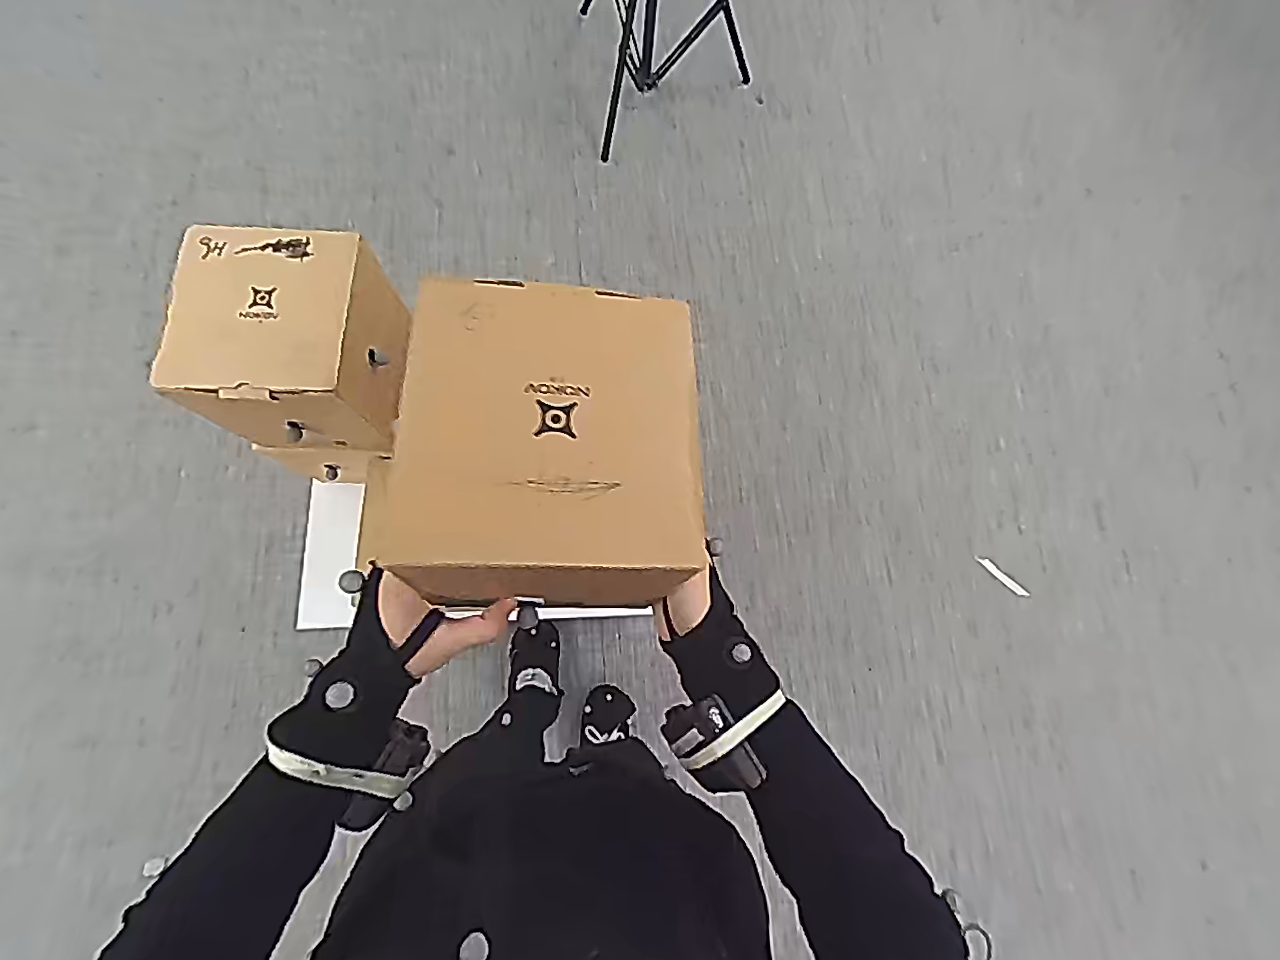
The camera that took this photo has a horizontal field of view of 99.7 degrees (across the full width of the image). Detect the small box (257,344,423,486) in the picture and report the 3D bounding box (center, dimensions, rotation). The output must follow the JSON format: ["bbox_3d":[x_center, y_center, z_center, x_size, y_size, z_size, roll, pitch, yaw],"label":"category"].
[{"bbox_3d":[-0.379,-0.091,0.745,0.168,0.176,0.179,2,76,-4],"label":"small box"}]

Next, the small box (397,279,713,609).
[{"bbox_3d":[-0.057,-0.009,0.381,0.168,0.176,0.179,1,70,-10],"label":"small box"}]

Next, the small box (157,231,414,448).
[{"bbox_3d":[-0.361,-0.139,0.589,0.168,0.176,0.179,1,76,-5],"label":"small box"}]
